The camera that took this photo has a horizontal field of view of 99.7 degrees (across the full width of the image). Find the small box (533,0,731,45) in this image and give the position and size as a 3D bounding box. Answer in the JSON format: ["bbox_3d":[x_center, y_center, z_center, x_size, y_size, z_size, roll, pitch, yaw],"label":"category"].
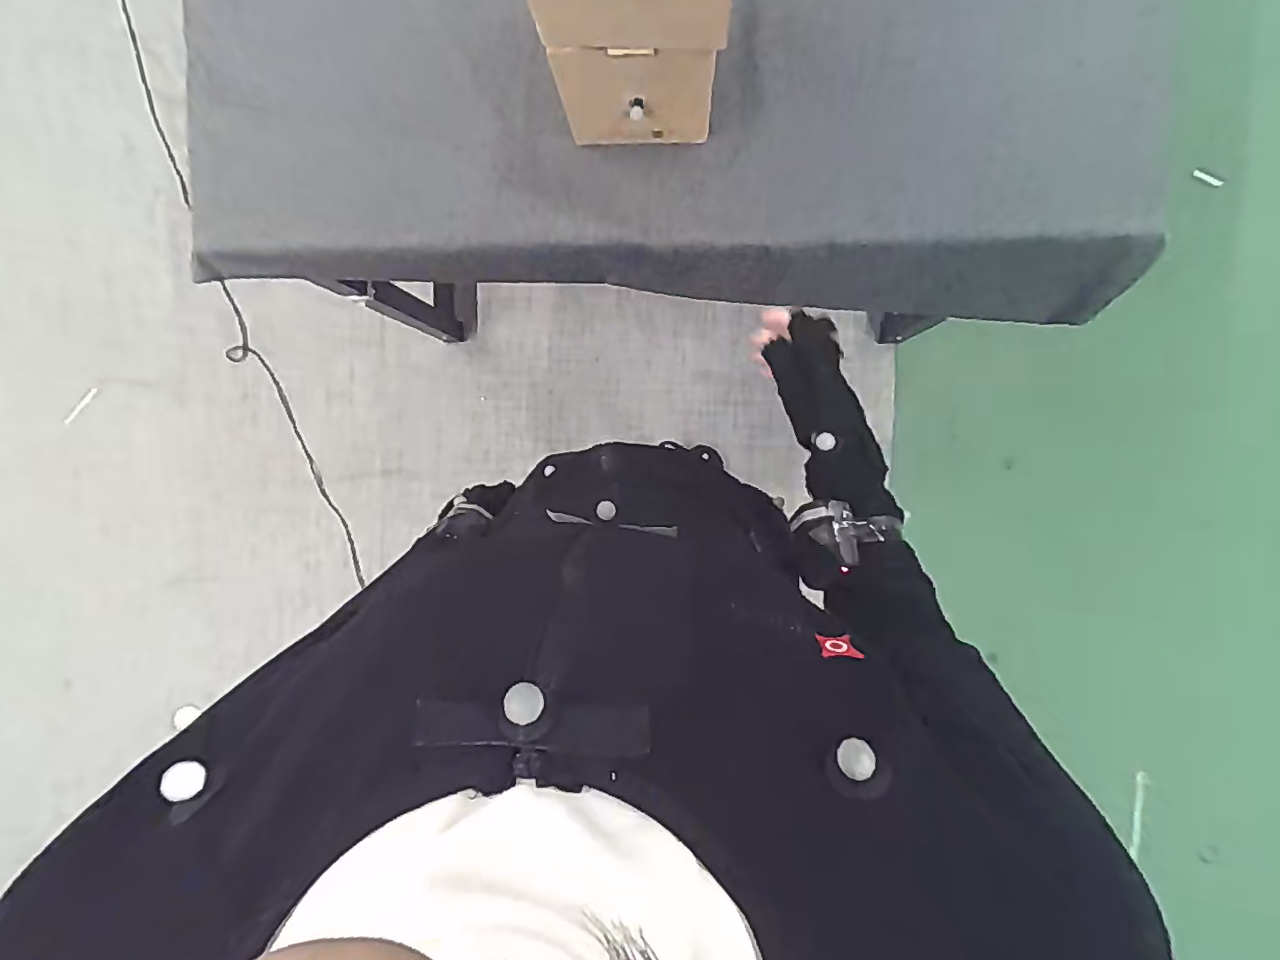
[{"bbox_3d":[-0.006,-0.483,0.421,0.179,0.176,0.168,4,94,6],"label":"small box"}]

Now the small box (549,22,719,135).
[{"bbox_3d":[0.002,-0.502,0.585,0.168,0.176,0.179,1,94,5],"label":"small box"}]
